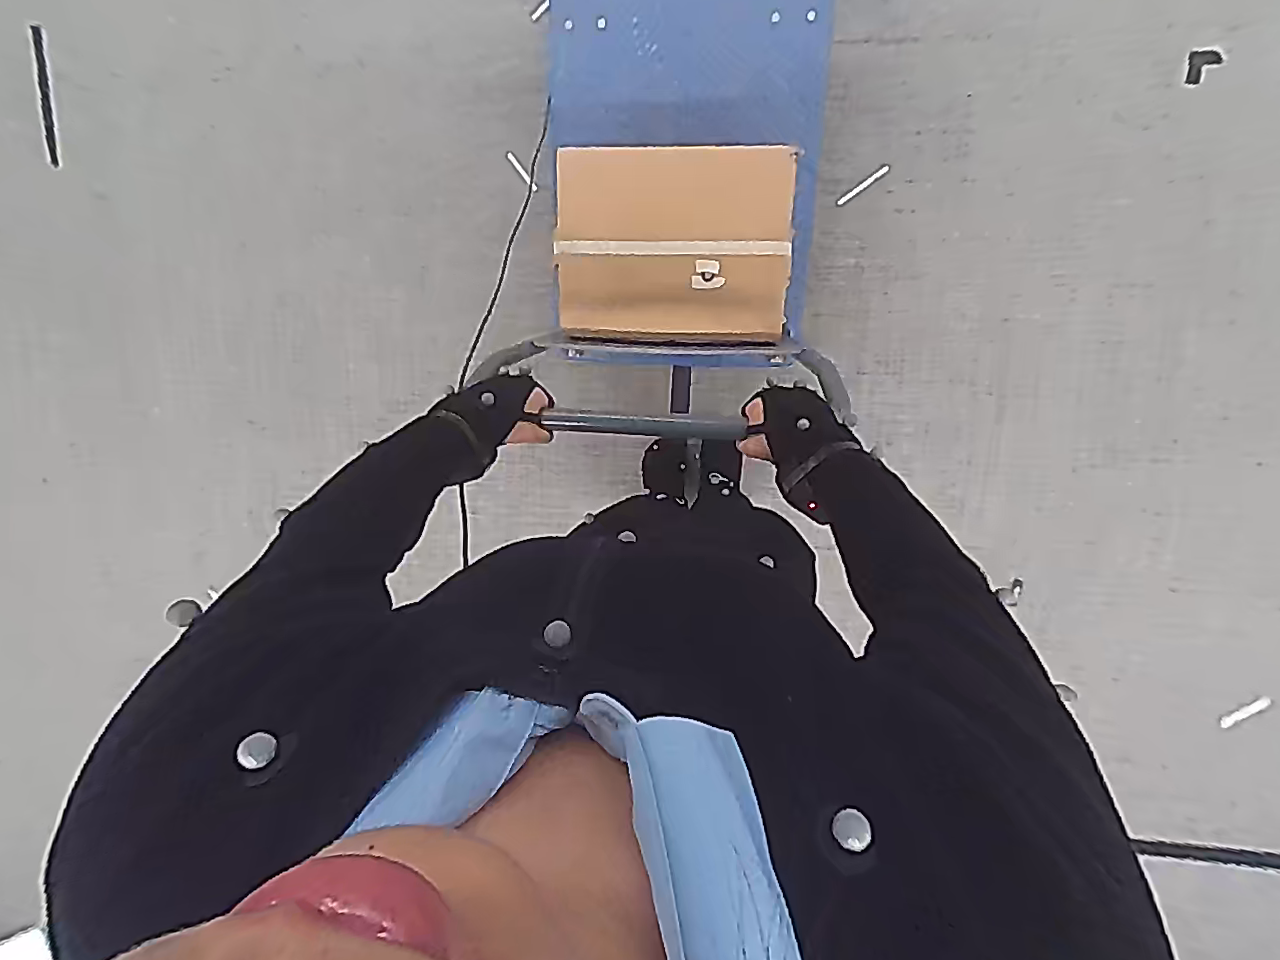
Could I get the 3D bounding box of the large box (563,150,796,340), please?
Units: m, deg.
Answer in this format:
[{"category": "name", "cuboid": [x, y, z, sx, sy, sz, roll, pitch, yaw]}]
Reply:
[{"category": "large box", "cuboid": [0.074, -0.450, 1.101, 0.408, 0.320, 0.320, 3, 106, 5]}]
